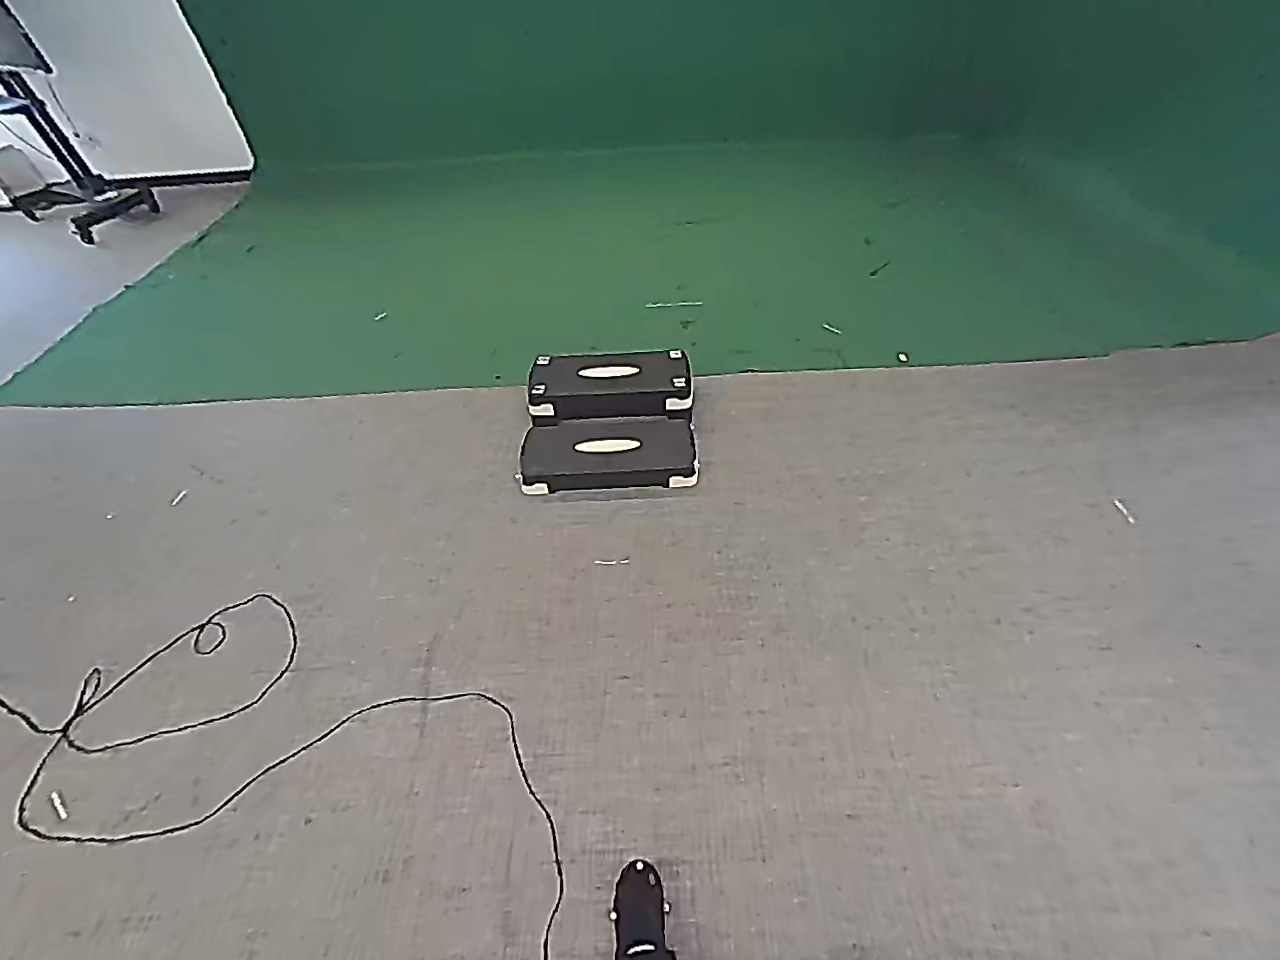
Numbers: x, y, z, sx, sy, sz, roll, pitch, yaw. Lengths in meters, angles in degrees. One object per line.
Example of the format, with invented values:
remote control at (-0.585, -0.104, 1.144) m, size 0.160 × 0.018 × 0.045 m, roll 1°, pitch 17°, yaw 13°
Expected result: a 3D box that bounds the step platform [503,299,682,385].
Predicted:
step platform at (-0.176, -0.545, 2.138) m, size 0.684 × 0.204 × 0.286 m, roll -3°, pitch 48°, yaw 1°
